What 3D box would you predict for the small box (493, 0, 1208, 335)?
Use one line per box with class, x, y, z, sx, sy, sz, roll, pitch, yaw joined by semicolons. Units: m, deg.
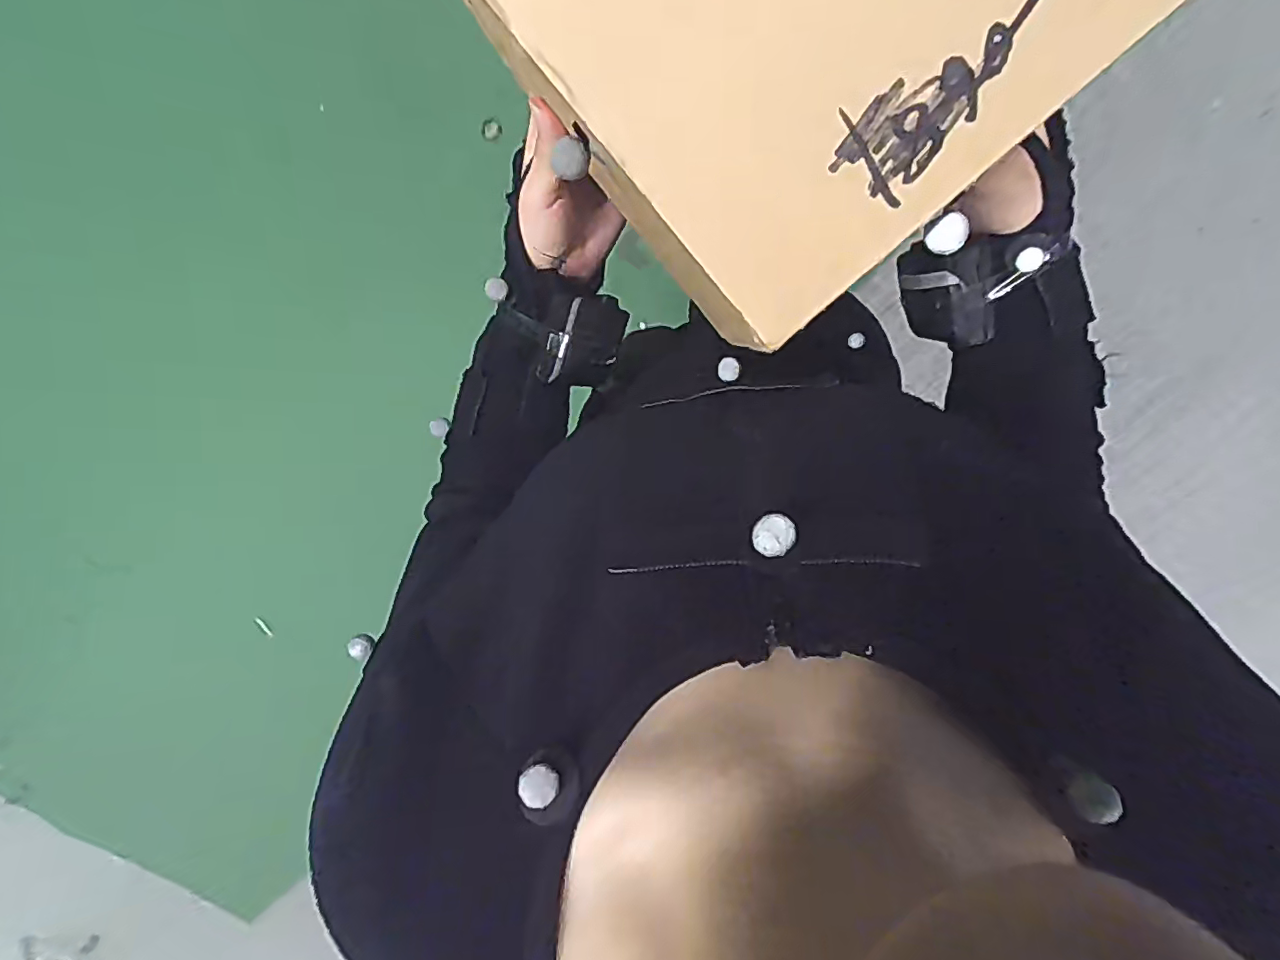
small box;0.059;-0.175;0.217;0.168;0.176;0.179;-40;97;14
